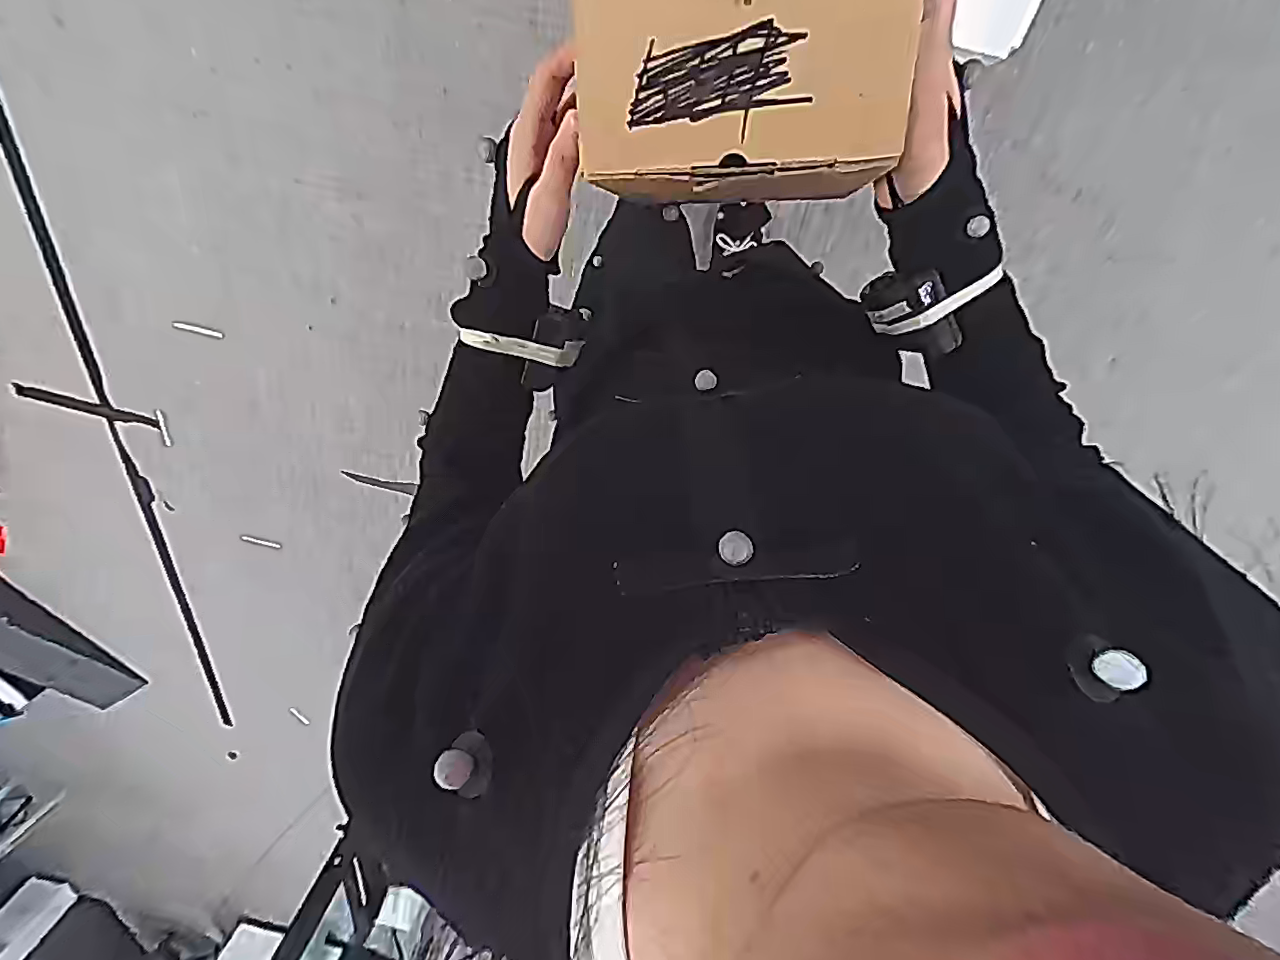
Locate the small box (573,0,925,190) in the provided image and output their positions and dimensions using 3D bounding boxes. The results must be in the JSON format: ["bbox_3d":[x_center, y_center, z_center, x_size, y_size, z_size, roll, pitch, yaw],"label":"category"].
[{"bbox_3d":[0.063,-0.274,0.315,0.168,0.176,0.179,4,112,10],"label":"small box"}]
